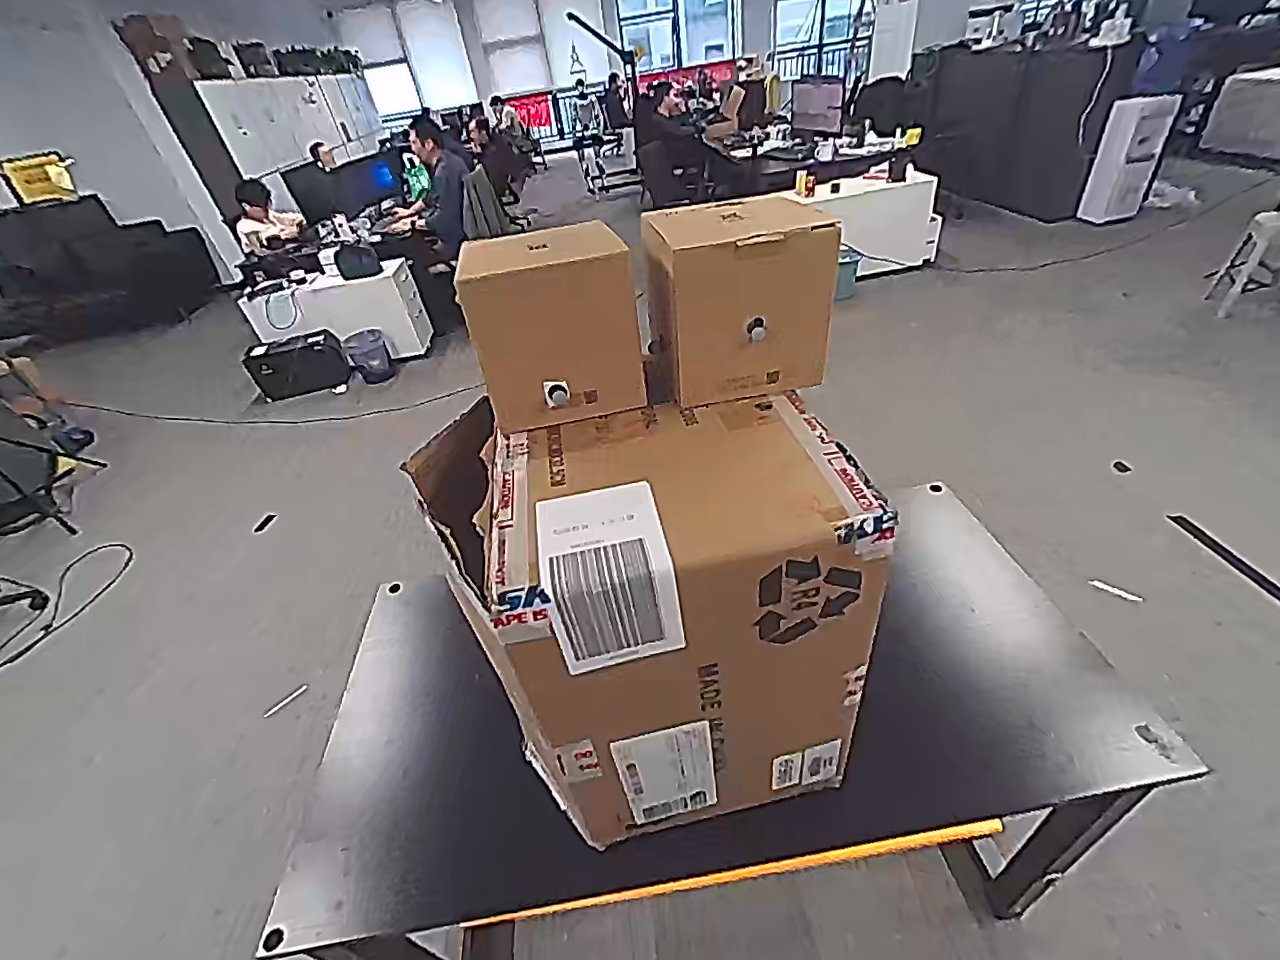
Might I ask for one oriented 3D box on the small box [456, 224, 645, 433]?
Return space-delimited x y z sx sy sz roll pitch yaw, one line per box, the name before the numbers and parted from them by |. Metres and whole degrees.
small box | -0.098 -0.176 0.615 0.168 0.176 0.179 -14 37 -7
